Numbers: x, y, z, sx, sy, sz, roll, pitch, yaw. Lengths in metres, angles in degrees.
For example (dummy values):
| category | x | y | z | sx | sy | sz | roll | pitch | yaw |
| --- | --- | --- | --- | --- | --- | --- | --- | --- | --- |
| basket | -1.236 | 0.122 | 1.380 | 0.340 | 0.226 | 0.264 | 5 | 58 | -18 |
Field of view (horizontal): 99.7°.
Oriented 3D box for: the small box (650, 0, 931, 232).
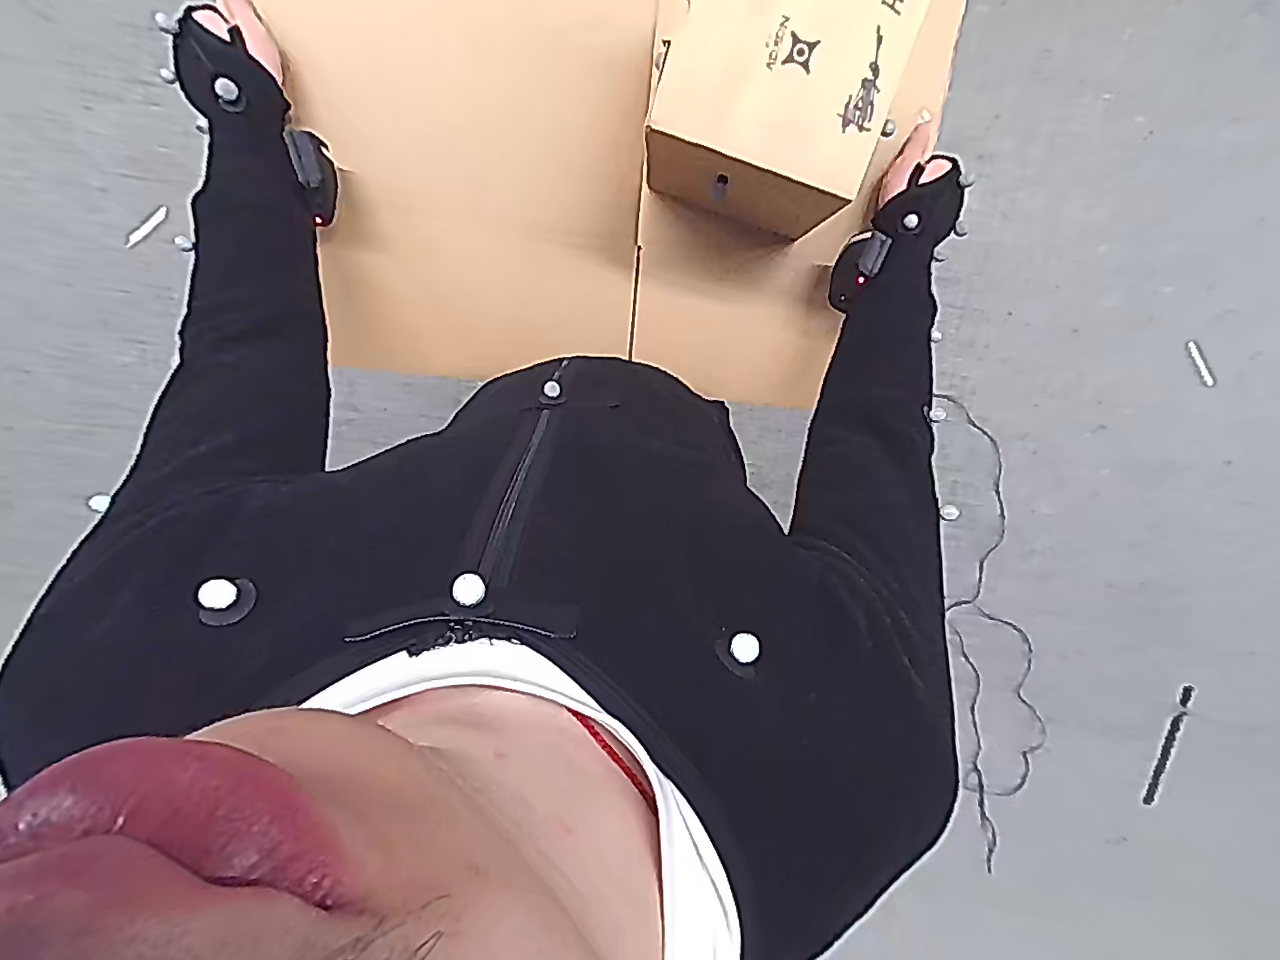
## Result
| category | x | y | z | sx | sy | sz | roll | pitch | yaw |
| --- | --- | --- | --- | --- | --- | --- | --- | --- | --- |
| small box | 0.117 | -0.344 | 0.486 | 0.179 | 0.176 | 0.168 | 18 | 104 | -3 |
